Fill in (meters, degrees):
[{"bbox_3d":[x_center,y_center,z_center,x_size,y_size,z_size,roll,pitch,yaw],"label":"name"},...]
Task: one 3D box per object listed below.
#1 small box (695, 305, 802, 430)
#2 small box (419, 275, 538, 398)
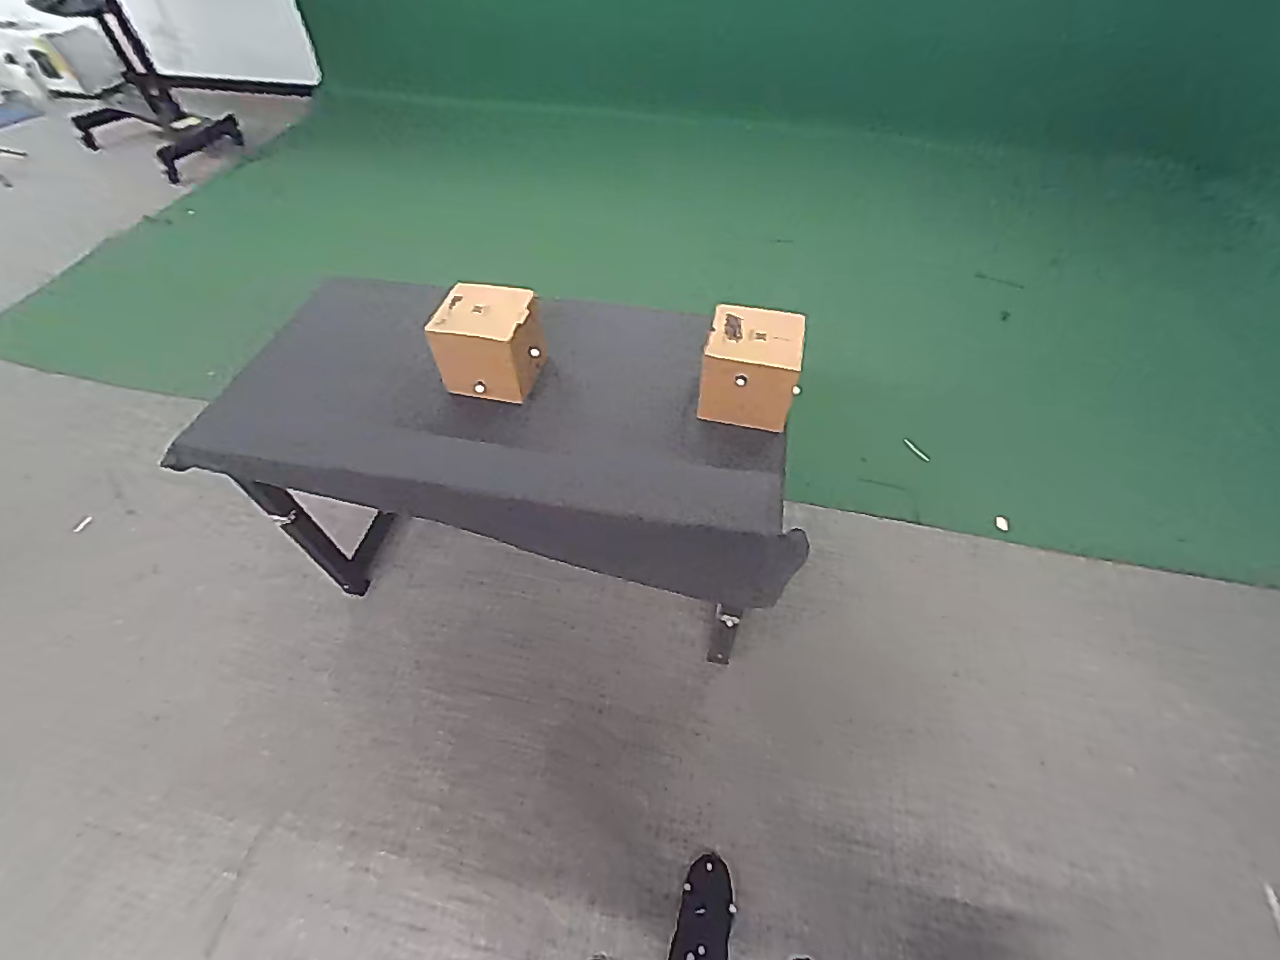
[{"bbox_3d":[0.213,-0.222,1.087,0.179,0.176,0.168,12,53,6],"label":"small box"},{"bbox_3d":[-0.320,-0.292,1.120,0.179,0.176,0.168,11,52,5],"label":"small box"}]
